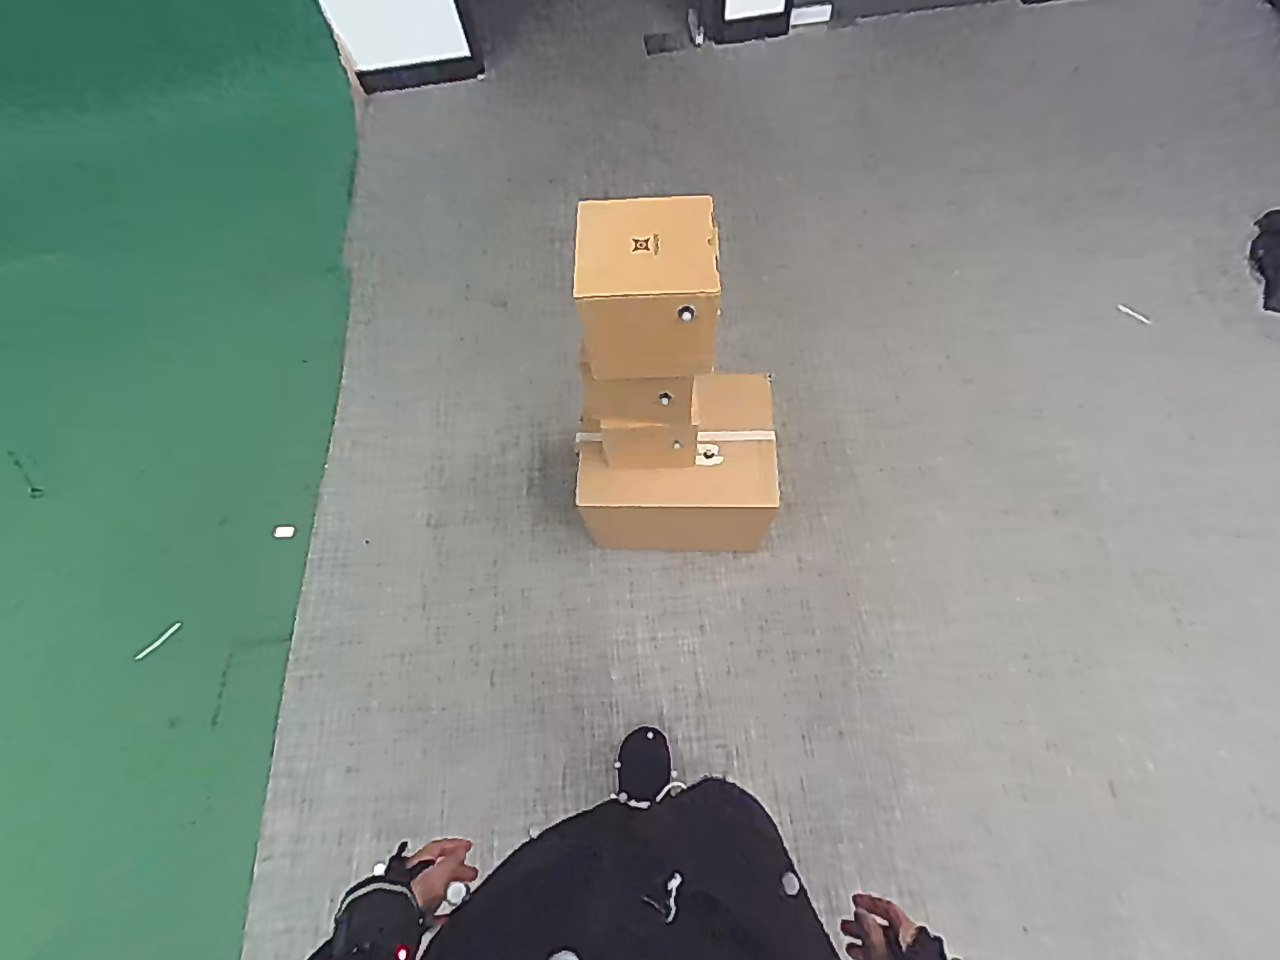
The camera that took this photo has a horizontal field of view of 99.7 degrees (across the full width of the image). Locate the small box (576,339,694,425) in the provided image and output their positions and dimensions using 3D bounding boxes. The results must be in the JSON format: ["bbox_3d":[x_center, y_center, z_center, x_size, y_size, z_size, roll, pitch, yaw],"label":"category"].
[{"bbox_3d":[0.005,-0.203,0.898,0.179,0.176,0.168,3,65,6],"label":"small box"}]

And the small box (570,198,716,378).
[{"bbox_3d":[0.007,-0.254,0.742,0.179,0.176,0.168,-2,65,2],"label":"small box"}]

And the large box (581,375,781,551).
[{"bbox_3d":[0.086,-0.025,1.259,0.408,0.320,0.320,0,67,3],"label":"large box"}]
